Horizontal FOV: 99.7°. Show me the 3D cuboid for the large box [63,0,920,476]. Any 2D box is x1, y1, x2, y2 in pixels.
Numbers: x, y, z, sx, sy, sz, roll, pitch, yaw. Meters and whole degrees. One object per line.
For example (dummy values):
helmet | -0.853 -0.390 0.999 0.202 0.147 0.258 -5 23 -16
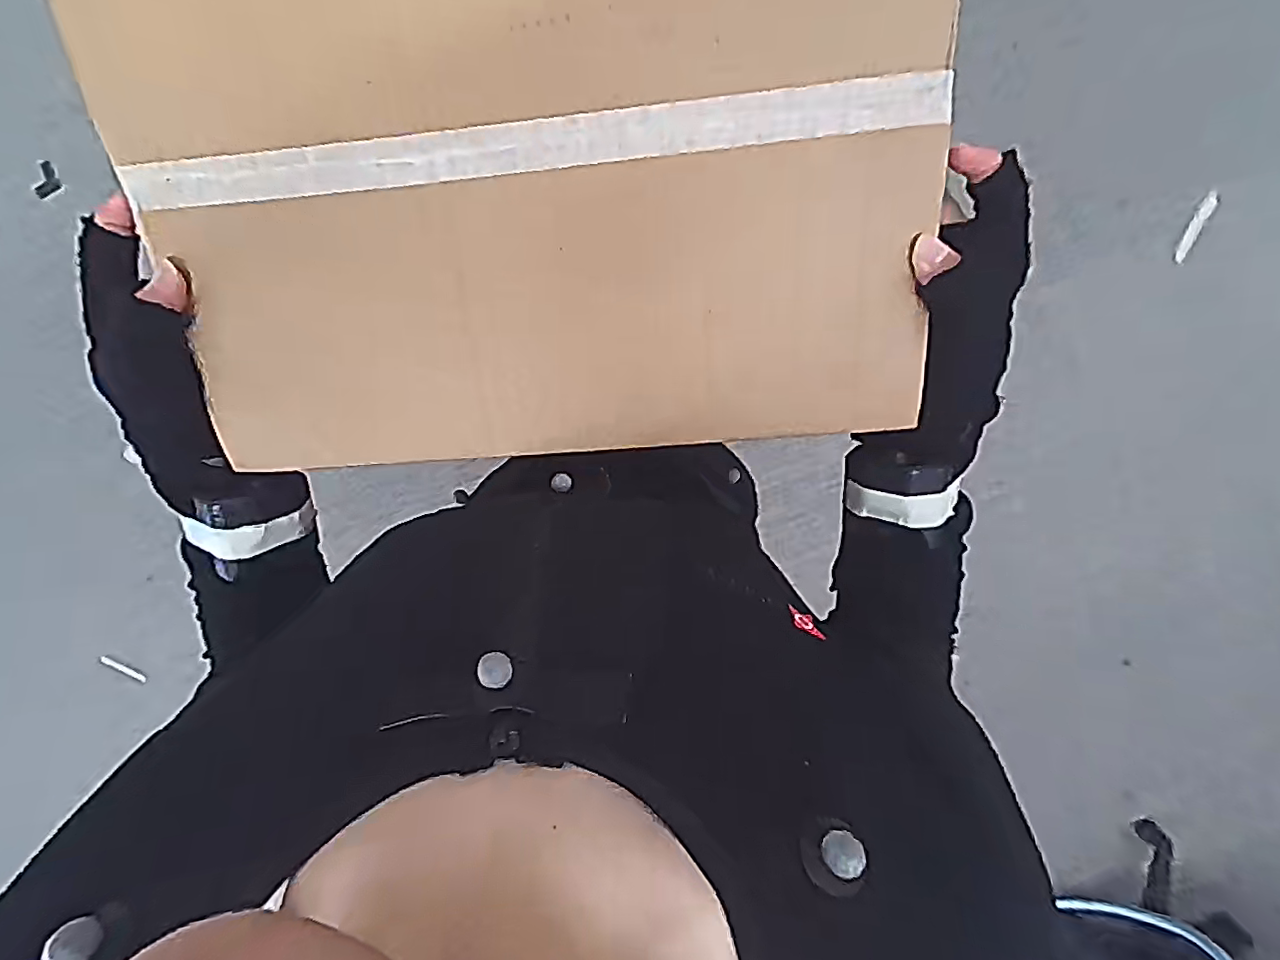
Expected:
large box | -0.058 -0.216 0.412 0.408 0.320 0.320 -4 111 4
